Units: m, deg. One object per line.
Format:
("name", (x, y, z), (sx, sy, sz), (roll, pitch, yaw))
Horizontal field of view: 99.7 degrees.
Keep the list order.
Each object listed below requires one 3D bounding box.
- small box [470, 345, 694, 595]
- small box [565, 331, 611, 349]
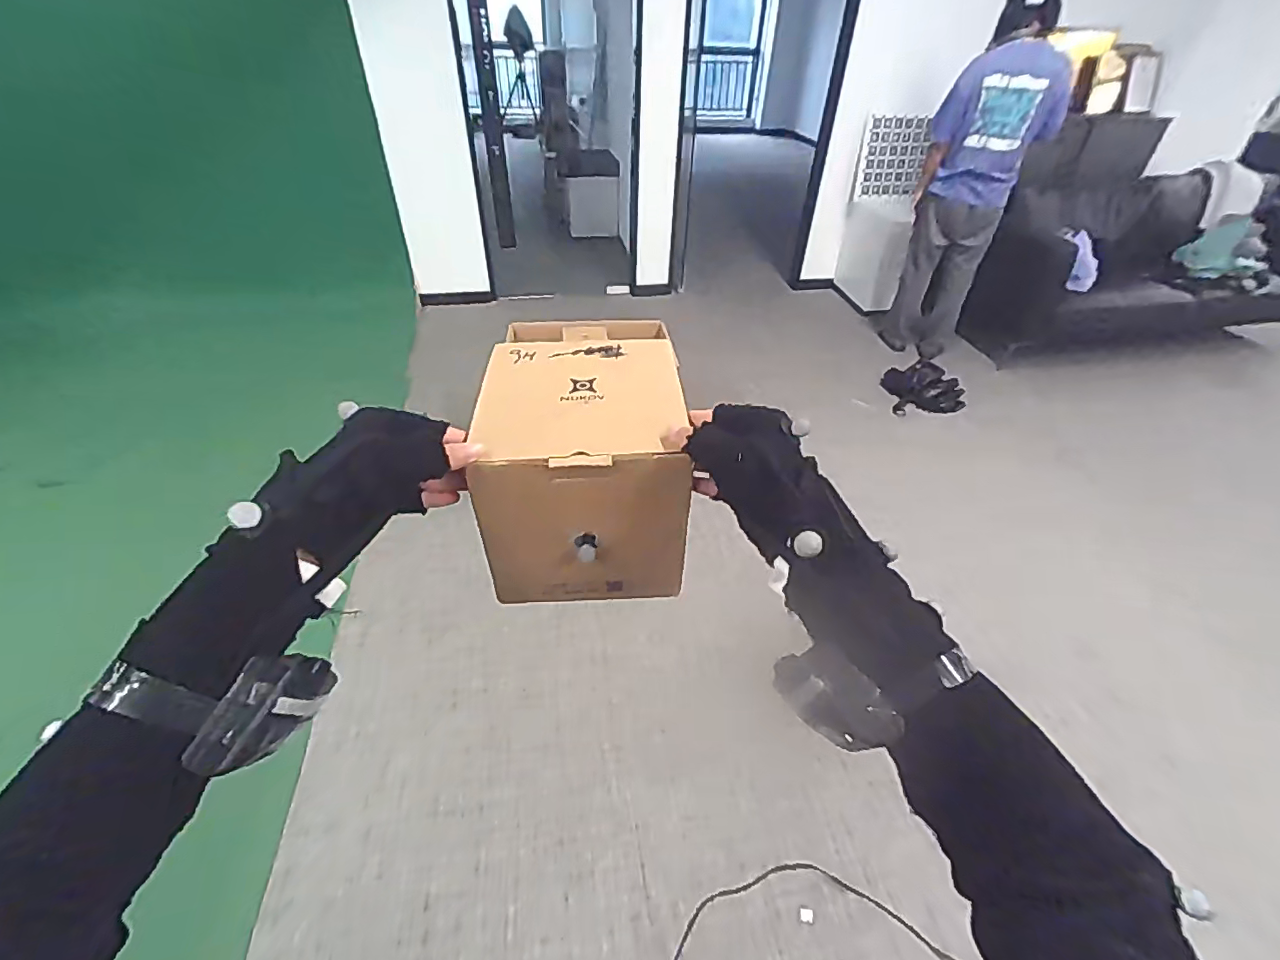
("small box", (-0.044, -0.007, 0.500), (0.168, 0.176, 0.179), (-2, 41, -3))
("small box", (-0.196, -0.455, 2.061), (0.168, 0.176, 0.179), (-3, 38, -8))
